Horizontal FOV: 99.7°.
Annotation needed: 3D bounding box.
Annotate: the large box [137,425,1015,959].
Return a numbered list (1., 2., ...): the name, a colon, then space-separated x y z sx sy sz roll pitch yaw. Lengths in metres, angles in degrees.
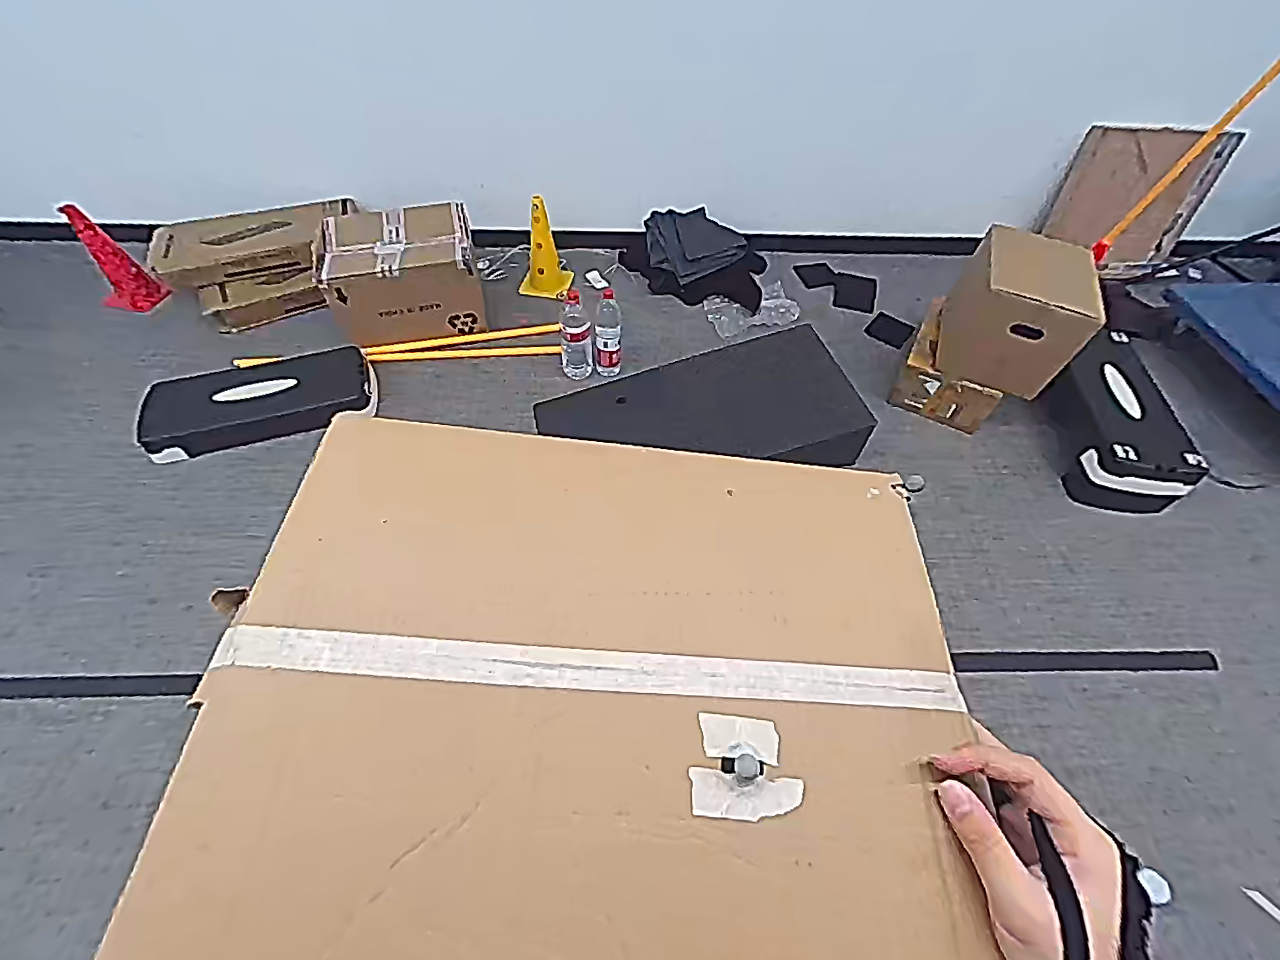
1. large box: -0.031 0.188 0.438 0.408 0.320 0.320 7 57 -6
